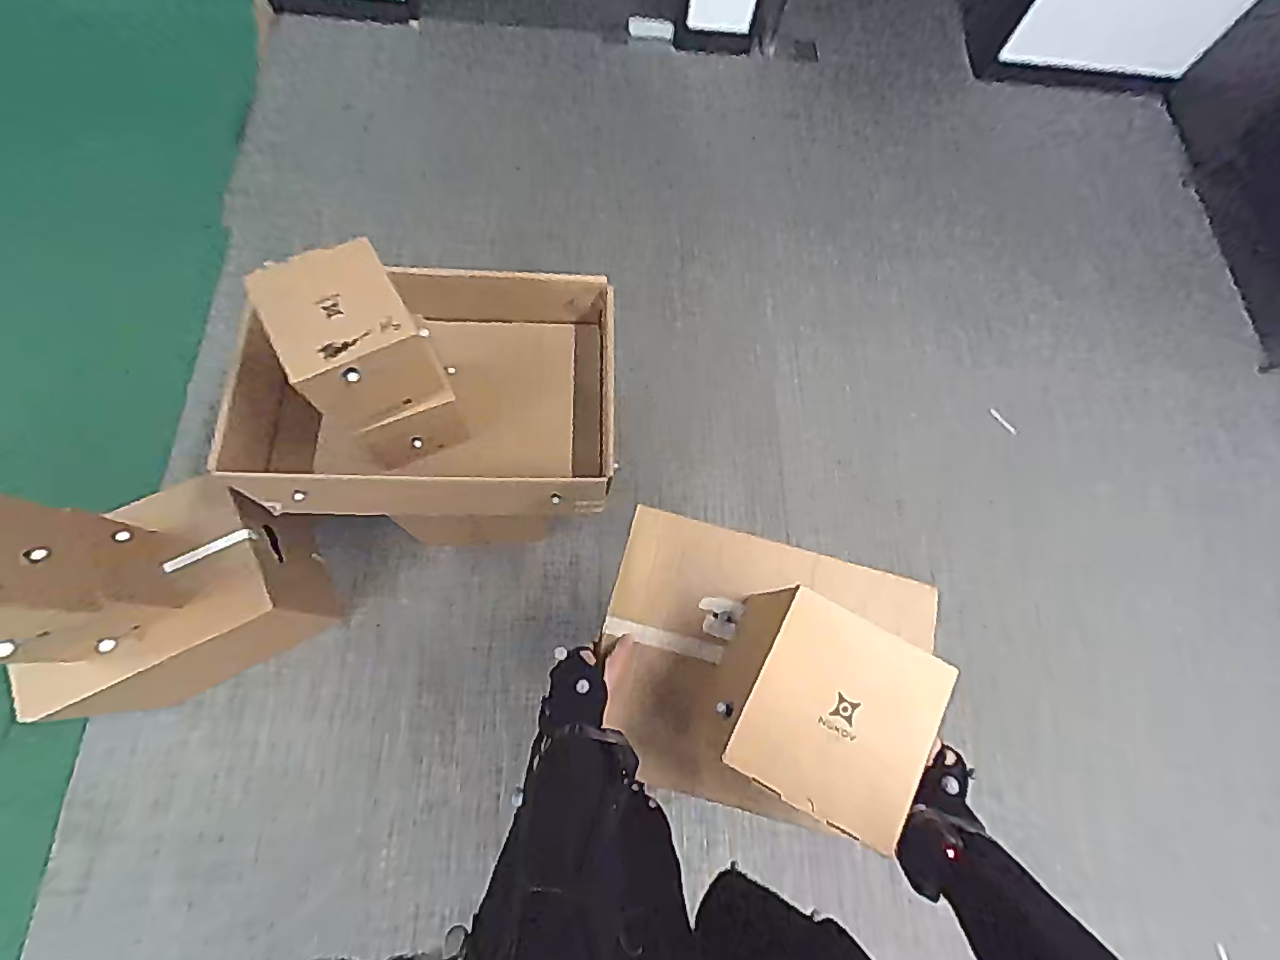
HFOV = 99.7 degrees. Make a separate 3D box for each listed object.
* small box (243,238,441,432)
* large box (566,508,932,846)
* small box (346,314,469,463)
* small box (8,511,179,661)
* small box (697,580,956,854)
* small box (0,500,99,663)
[{"bbox_3d":[-0.411,-0.199,0.773,0.168,0.176,0.179,-28,76,-14],"label":"small box"},{"bbox_3d":[0.139,0.263,0.793,0.408,0.320,0.320,15,73,2],"label":"large box"},{"bbox_3d":[-0.411,-0.145,0.929,0.168,0.176,0.179,-22,75,-13],"label":"small box"},{"bbox_3d":[-0.918,0.180,0.882,0.168,0.176,0.179,-31,78,-14],"label":"small box"},{"bbox_3d":[0.172,0.221,0.553,0.168,0.176,0.179,29,77,4],"label":"small box"},{"bbox_3d":[-0.897,0.140,0.724,0.168,0.176,0.179,-26,77,-12],"label":"small box"}]
